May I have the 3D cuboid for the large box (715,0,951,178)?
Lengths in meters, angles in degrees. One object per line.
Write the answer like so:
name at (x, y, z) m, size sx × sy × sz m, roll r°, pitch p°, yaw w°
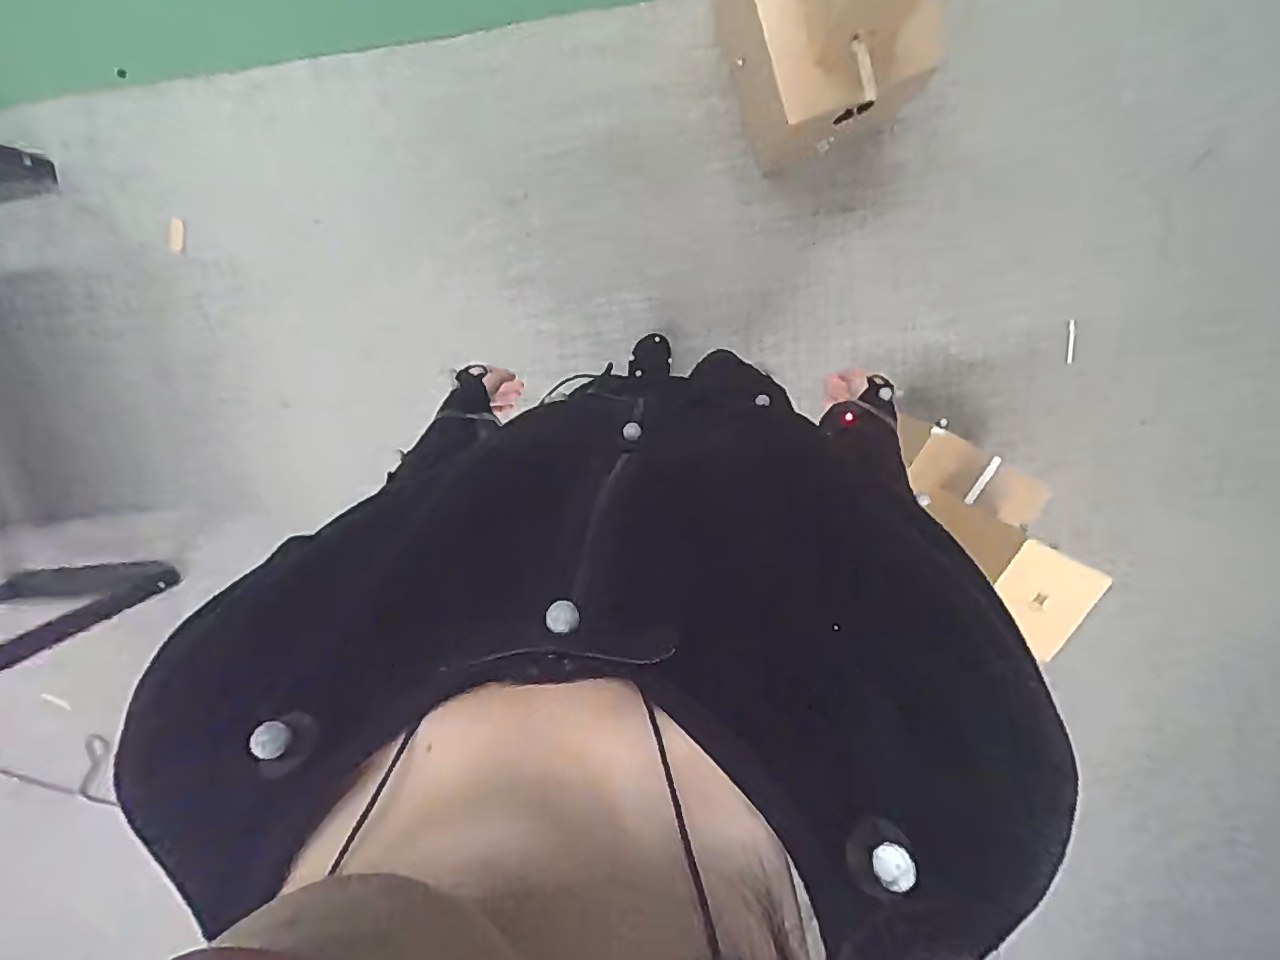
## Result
large box at (0.372, -0.932, 1.123) m, size 0.320 × 0.320 × 0.408 m, roll -19°, pitch 101°, yaw 6°

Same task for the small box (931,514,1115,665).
small box at (0.662, 0.185, 0.964) m, size 0.168 × 0.176 × 0.179 m, roll 26°, pitch 105°, yaw -3°

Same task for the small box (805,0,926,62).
small box at (0.371, -0.849, 0.891) m, size 0.168 × 0.176 × 0.179 m, roll -16°, pitch 103°, yaw 8°
